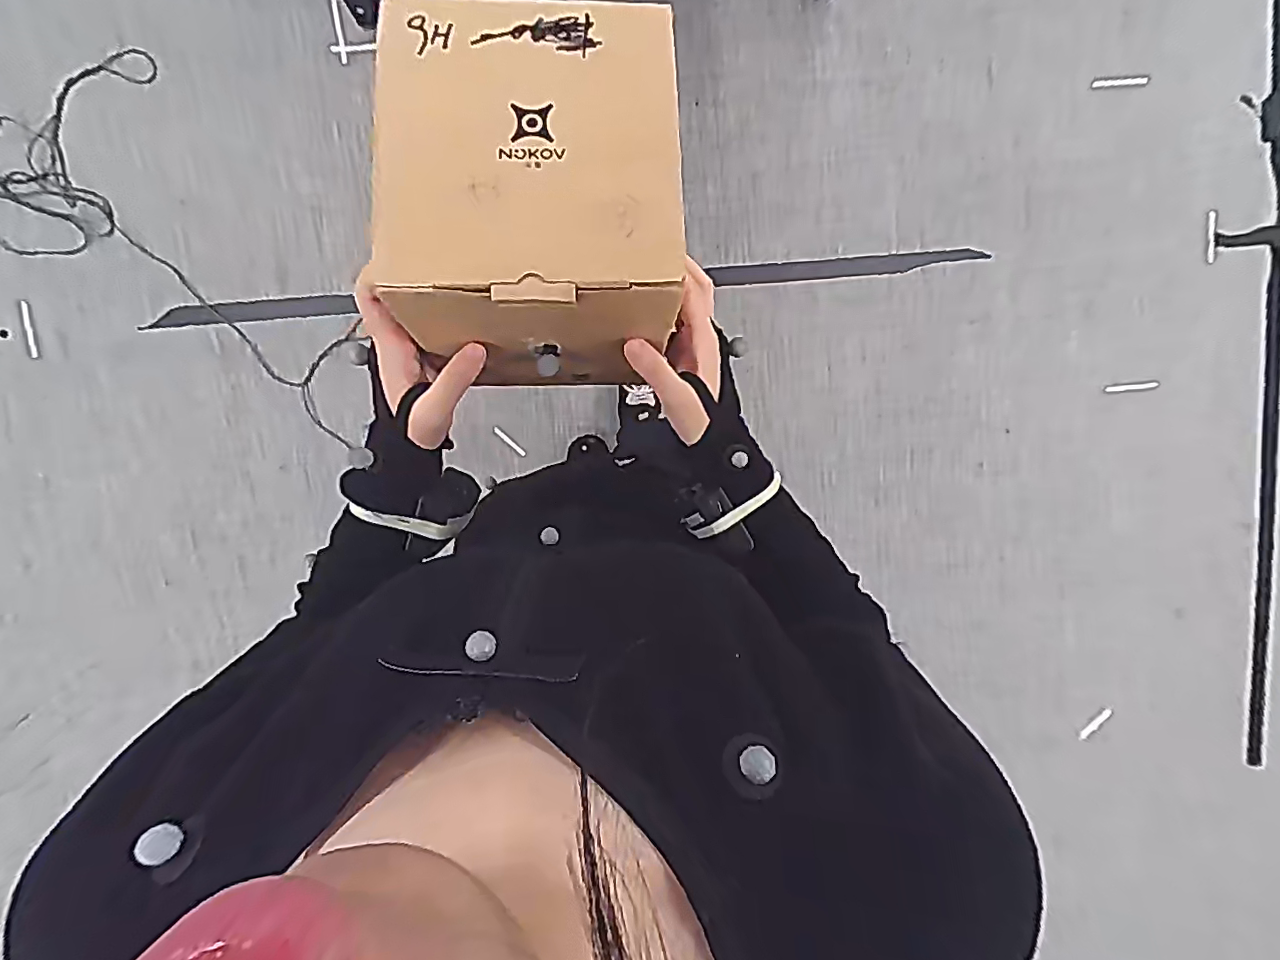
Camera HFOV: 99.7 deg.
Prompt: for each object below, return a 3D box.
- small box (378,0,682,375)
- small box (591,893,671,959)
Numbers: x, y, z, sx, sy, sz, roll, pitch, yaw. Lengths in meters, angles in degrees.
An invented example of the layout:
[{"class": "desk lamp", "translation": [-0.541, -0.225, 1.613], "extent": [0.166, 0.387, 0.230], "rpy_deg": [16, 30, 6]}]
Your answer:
[{"class": "small box", "translation": [-0.064, -0.178, 0.377], "extent": [0.168, 0.176, 0.179], "rpy_deg": [-1, 83, -5]}, {"class": "small box", "translation": [-0.018, 1.087, 1.232], "extent": [0.179, 0.176, 0.168], "rpy_deg": [-6, 96, -1]}]
